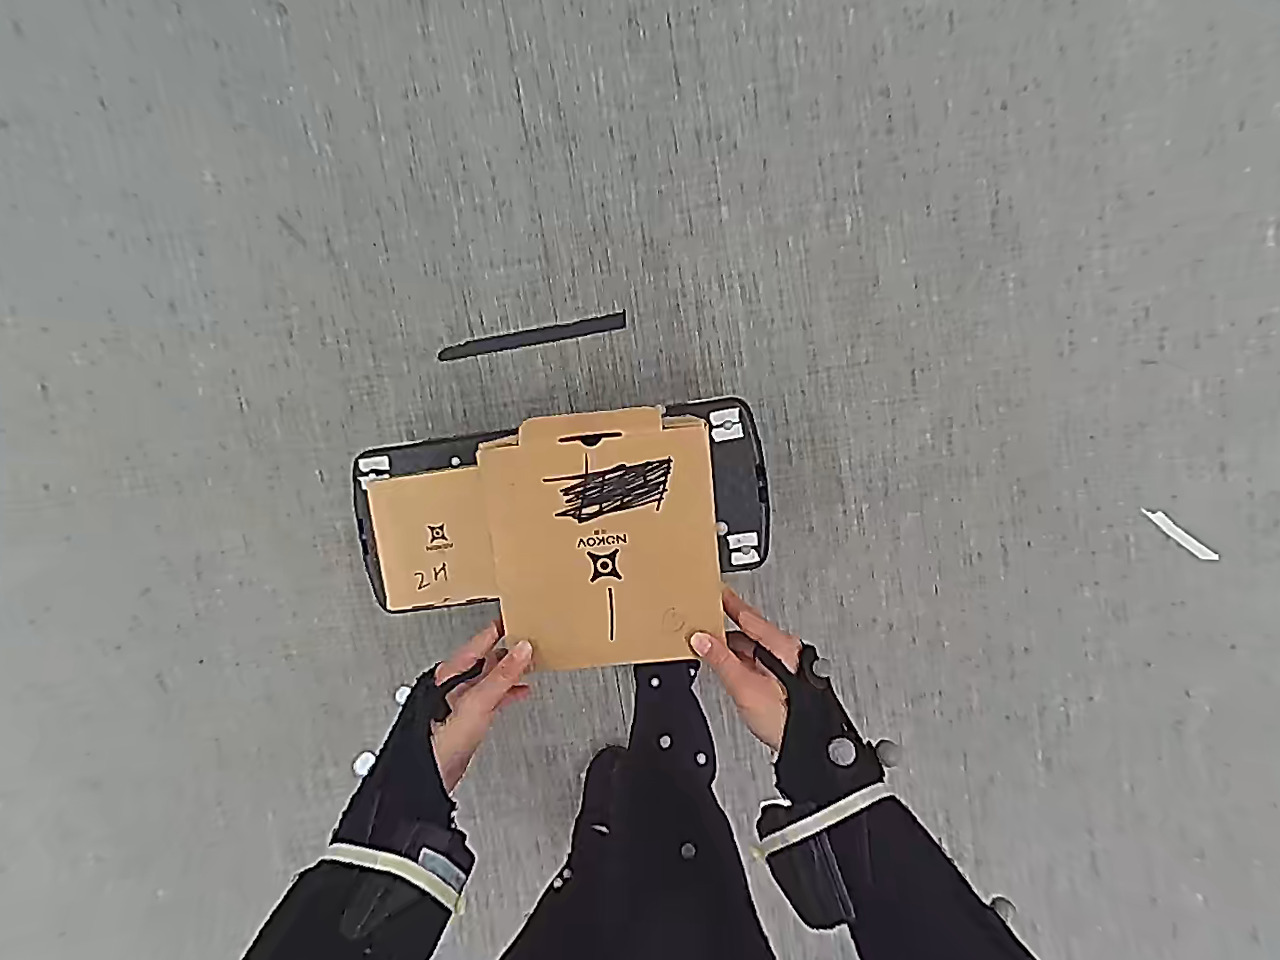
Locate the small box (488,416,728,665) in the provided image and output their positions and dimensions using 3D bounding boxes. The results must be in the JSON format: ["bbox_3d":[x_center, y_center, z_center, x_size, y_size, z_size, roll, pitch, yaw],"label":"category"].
[{"bbox_3d":[-0.020,0.037,0.476,0.168,0.176,0.179,-6,99,2],"label":"small box"}]

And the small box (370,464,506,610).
[{"bbox_3d":[-0.254,0.069,0.776,0.168,0.176,0.179,-7,95,4],"label":"small box"}]

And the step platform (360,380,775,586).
[{"bbox_3d":[-0.115,0.014,0.940,0.684,0.204,0.286,-8,95,4],"label":"step platform"}]
